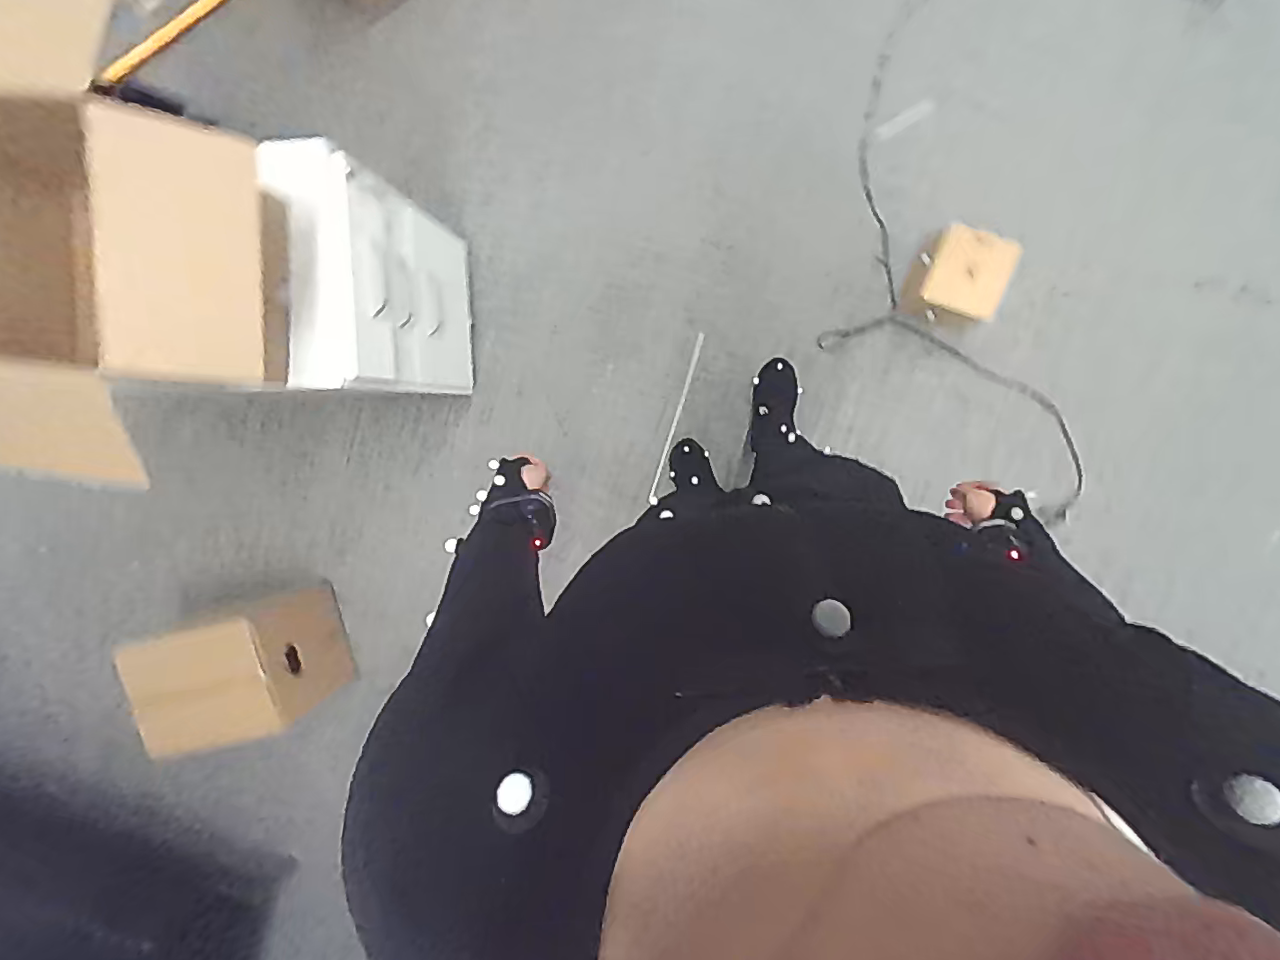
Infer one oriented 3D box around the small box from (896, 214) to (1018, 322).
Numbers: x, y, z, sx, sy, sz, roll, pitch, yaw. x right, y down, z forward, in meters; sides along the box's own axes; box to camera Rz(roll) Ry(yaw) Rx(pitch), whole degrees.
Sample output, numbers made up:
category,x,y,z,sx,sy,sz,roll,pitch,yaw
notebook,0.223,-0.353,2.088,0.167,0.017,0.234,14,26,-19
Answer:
category,x,y,z,sx,sy,sz,roll,pitch,yaw
small box,0.730,-0.486,1.272,0.168,0.176,0.179,19,98,3
